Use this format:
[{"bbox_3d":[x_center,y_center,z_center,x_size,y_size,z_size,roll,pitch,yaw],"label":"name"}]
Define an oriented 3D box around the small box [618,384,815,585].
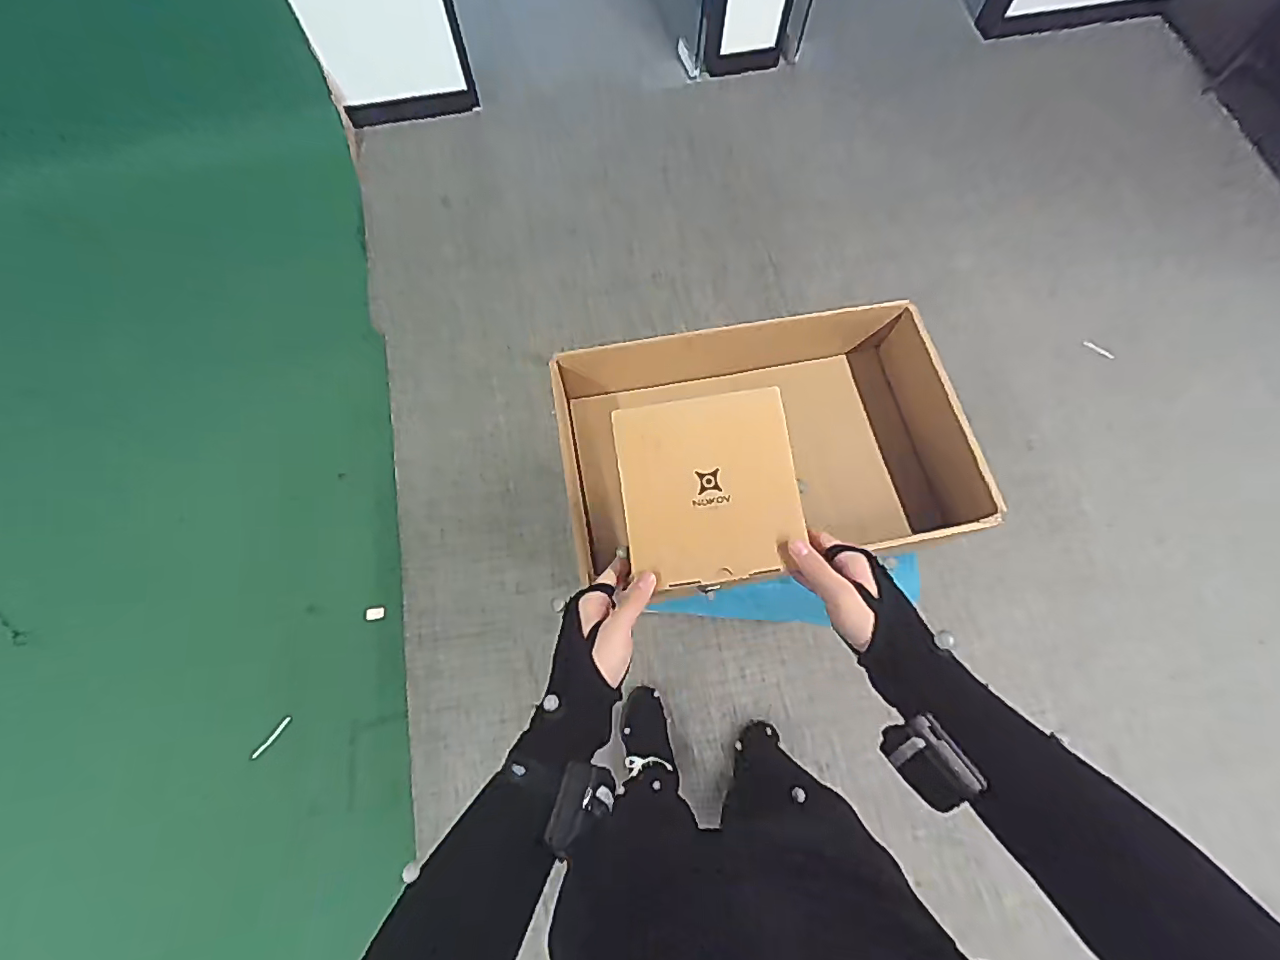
[{"bbox_3d":[0.070,0.015,0.585,0.168,0.176,0.179,-9,81,0],"label":"small box"}]
